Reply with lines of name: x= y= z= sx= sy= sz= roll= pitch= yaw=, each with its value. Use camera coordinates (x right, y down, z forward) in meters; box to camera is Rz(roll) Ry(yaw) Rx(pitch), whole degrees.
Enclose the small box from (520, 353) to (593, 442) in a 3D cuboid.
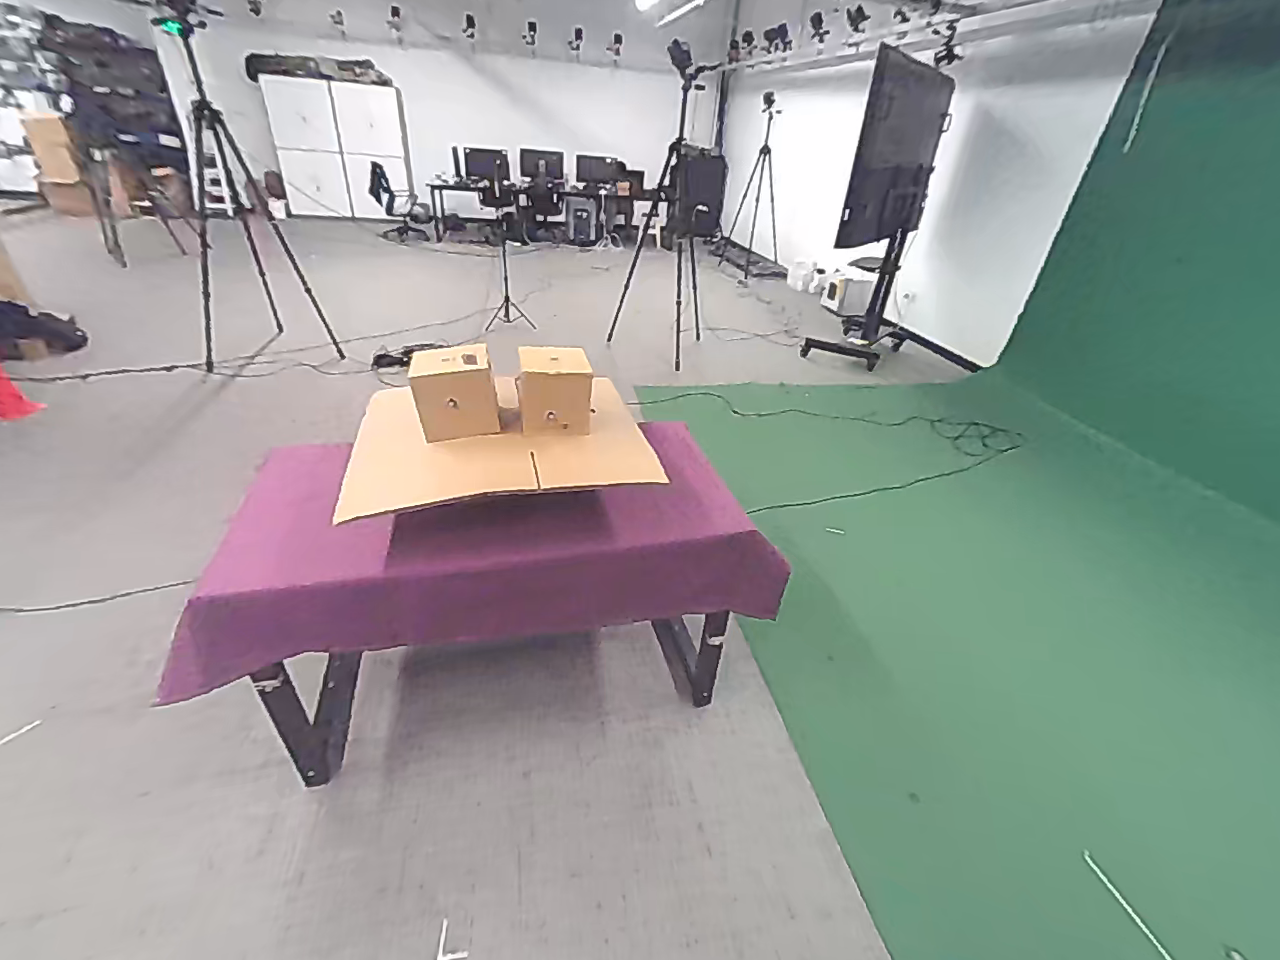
small box: x=-0.217 y=-0.210 z=1.369 sx=0.168 sy=0.176 sz=0.179 roll=-2 pitch=34 yaw=-15
